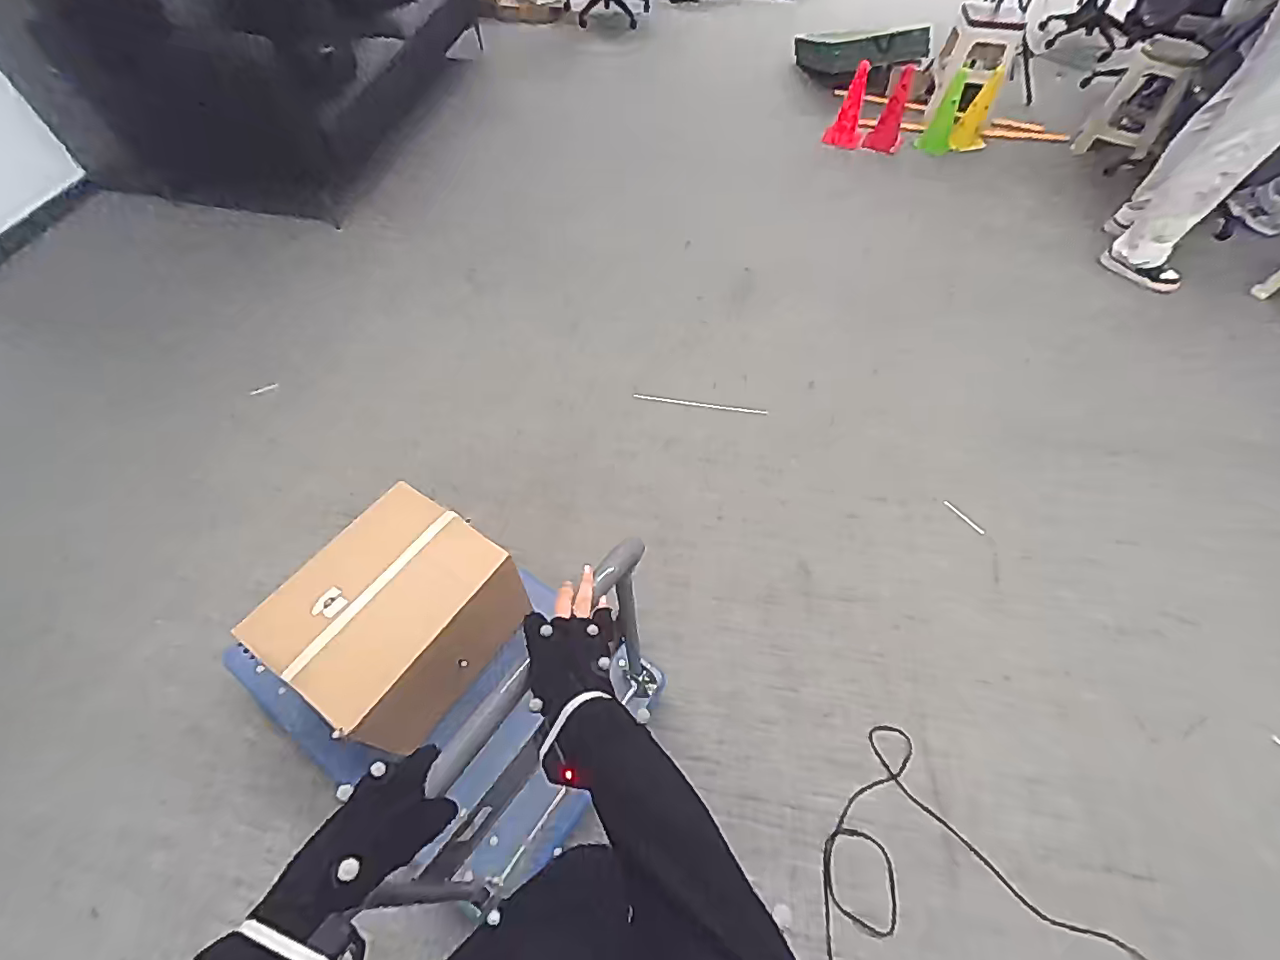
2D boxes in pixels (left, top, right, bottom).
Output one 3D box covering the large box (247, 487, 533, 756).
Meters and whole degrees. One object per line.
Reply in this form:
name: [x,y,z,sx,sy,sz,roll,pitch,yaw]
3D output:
large box: [-0.485,0.301,1.152,0.320,0.320,0.408,29,61,17]
